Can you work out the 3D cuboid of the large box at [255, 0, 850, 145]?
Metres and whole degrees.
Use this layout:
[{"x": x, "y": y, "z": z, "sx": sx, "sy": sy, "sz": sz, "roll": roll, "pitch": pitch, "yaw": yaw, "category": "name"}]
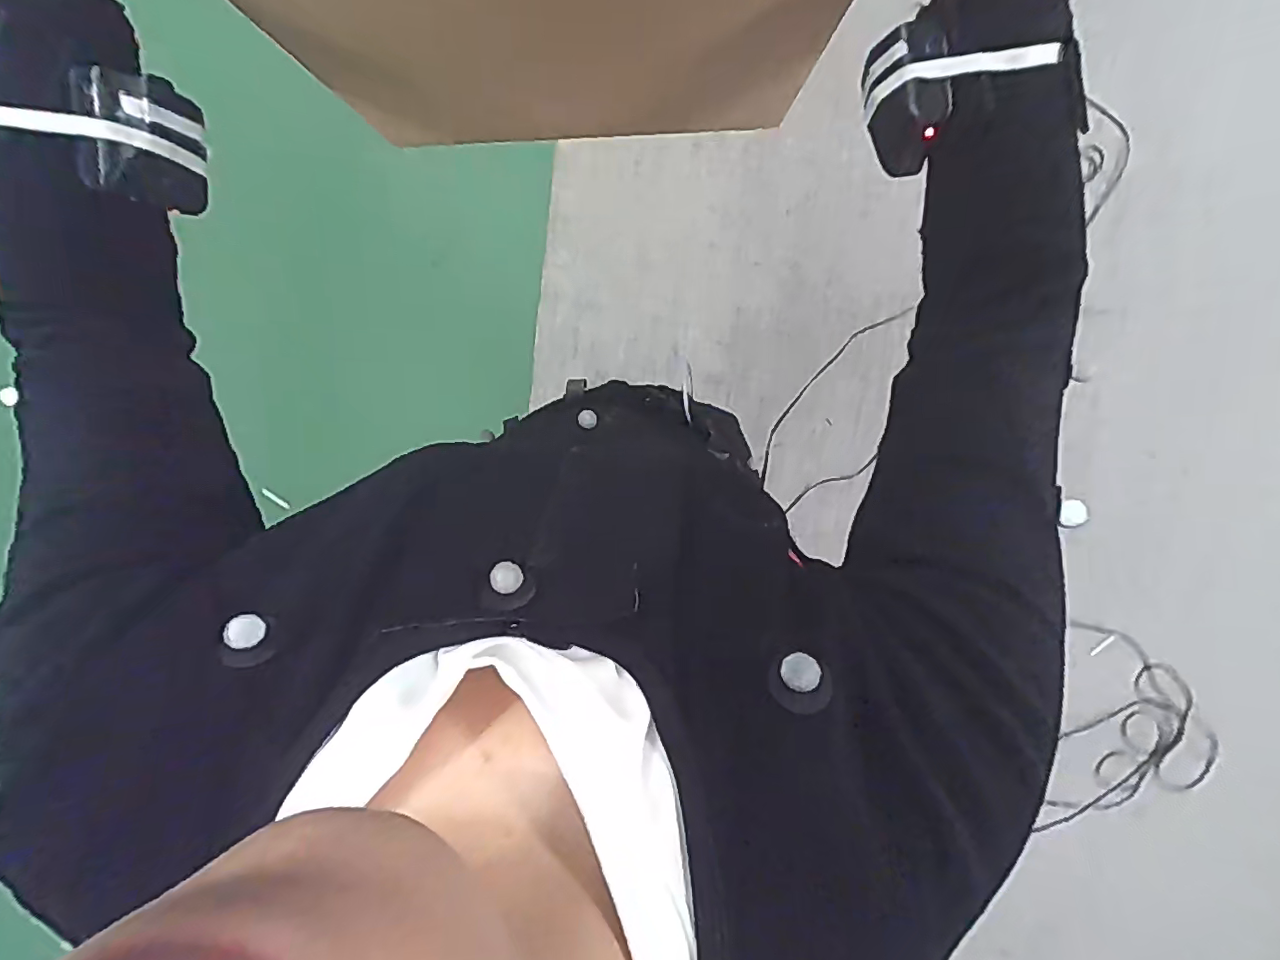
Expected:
[{"x": -0.059, "y": -0.474, "z": 0.384, "sx": 0.408, "sy": 0.320, "sz": 0.320, "roll": -3, "pitch": 103, "yaw": 0, "category": "large box"}]
